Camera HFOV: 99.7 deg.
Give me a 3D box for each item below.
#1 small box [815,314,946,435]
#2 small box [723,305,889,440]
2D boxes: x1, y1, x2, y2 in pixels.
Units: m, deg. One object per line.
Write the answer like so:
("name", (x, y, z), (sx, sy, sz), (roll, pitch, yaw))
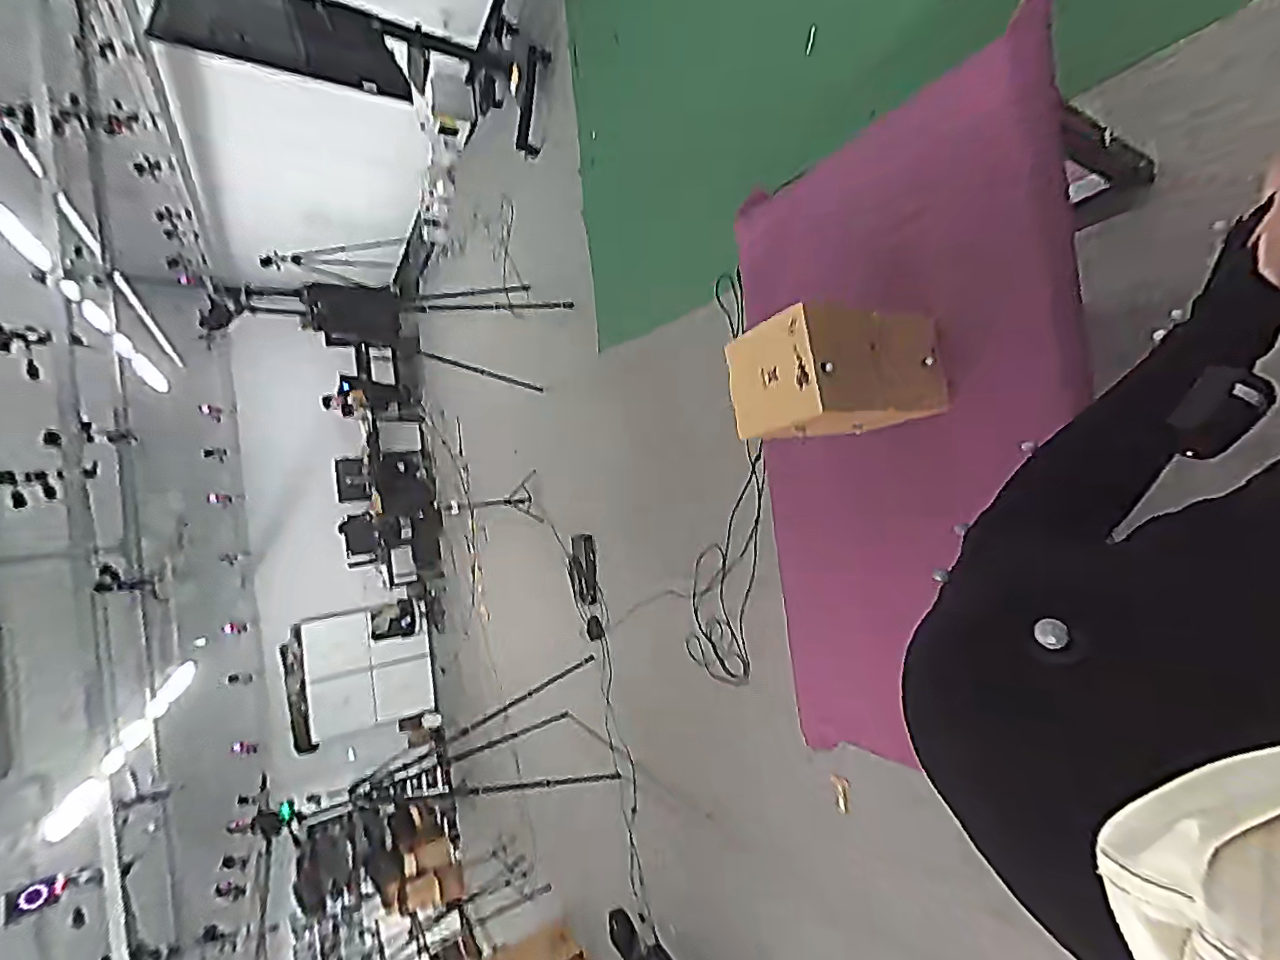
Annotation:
("small box", (0.401, -0.176, 0.956), (0.179, 0.176, 0.168), (-16, 82, 57))
("small box", (0.263, -0.163, 0.869), (0.179, 0.176, 0.168), (-18, 81, 58))
